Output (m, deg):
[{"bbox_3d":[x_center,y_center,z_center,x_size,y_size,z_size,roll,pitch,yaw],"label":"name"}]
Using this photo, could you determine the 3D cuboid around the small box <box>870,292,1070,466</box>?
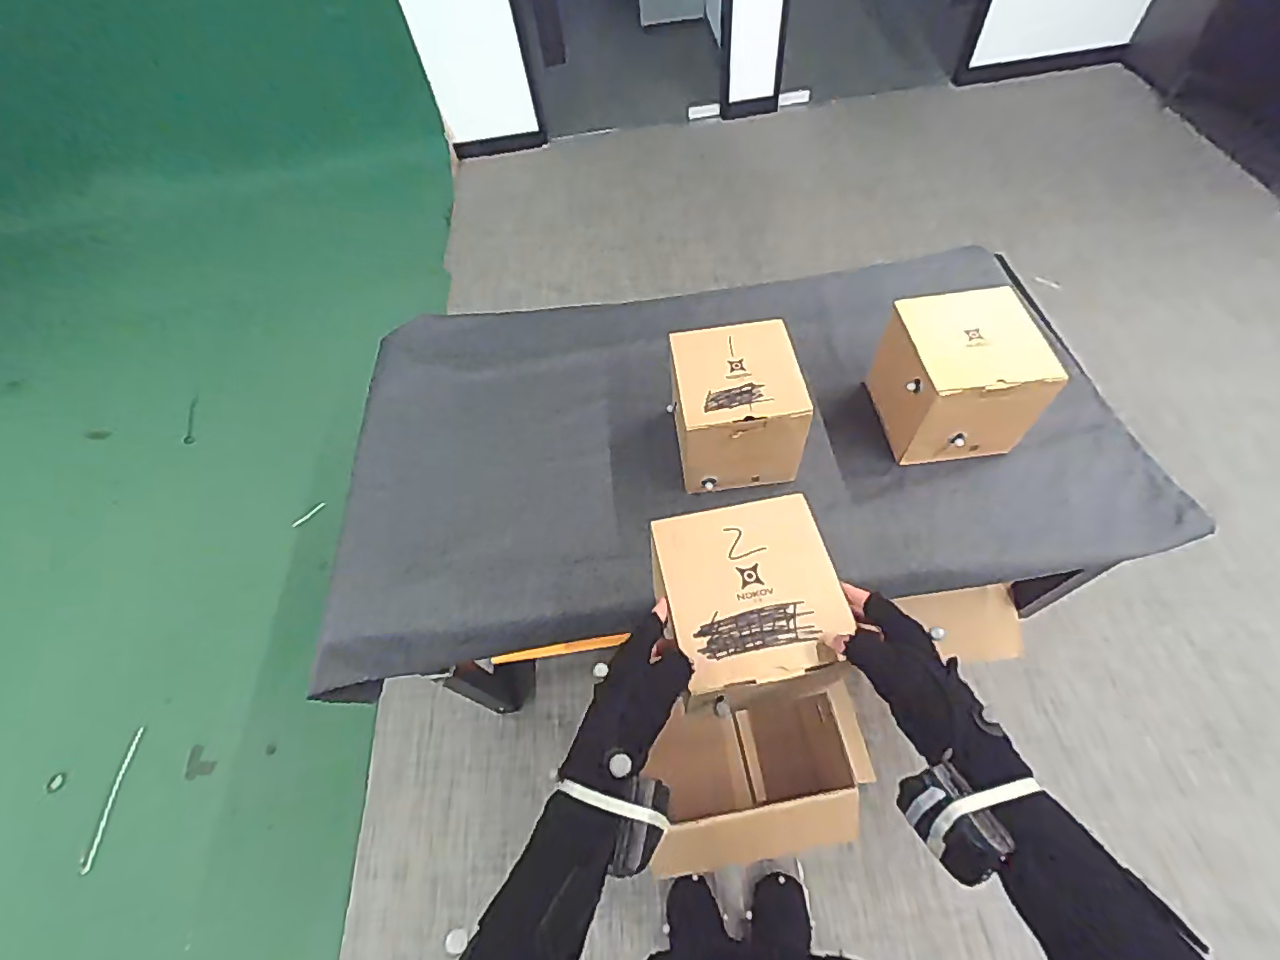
[{"bbox_3d":[0.457,-0.143,0.789,0.168,0.176,0.179,-7,58,2],"label":"small box"}]

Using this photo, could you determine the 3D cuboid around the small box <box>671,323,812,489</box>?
[{"bbox_3d":[0.140,-0.099,0.794,0.168,0.176,0.179,-7,57,2],"label":"small box"}]
